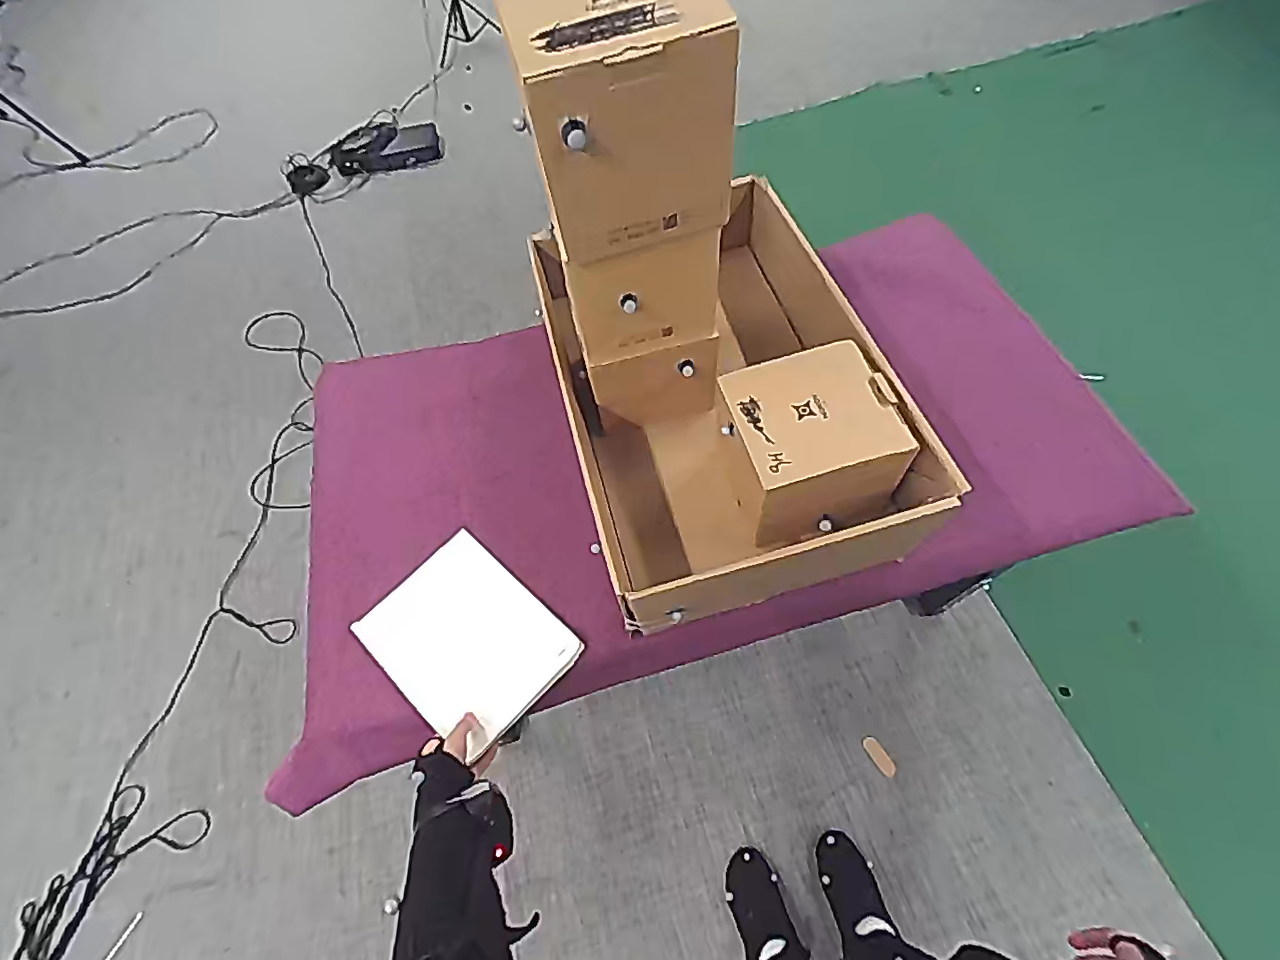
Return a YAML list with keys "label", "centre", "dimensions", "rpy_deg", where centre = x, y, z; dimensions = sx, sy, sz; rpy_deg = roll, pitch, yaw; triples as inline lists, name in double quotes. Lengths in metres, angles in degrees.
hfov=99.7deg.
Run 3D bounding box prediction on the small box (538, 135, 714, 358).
- label: "small box"
  centre: [-0.012, -0.268, 0.653]
  dimensions: [0.168, 0.176, 0.179]
  rpy_deg: [-14, 62, -2]
